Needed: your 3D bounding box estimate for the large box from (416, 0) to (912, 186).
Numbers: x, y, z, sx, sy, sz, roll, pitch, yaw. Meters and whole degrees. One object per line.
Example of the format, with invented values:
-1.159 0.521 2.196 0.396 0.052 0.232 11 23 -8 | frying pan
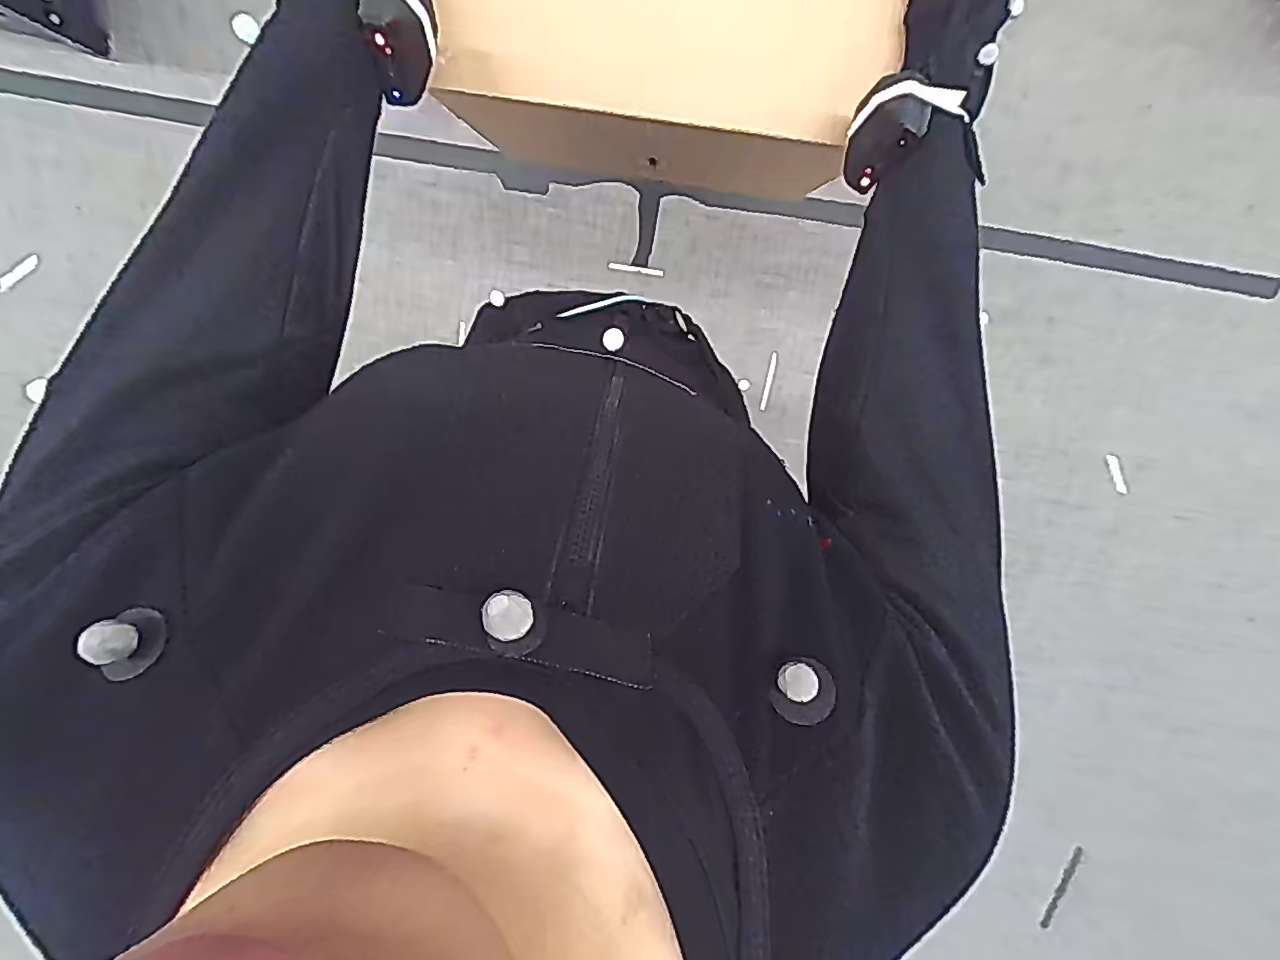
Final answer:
0.035 -0.509 0.544 0.408 0.320 0.320 8 110 -1 | large box
